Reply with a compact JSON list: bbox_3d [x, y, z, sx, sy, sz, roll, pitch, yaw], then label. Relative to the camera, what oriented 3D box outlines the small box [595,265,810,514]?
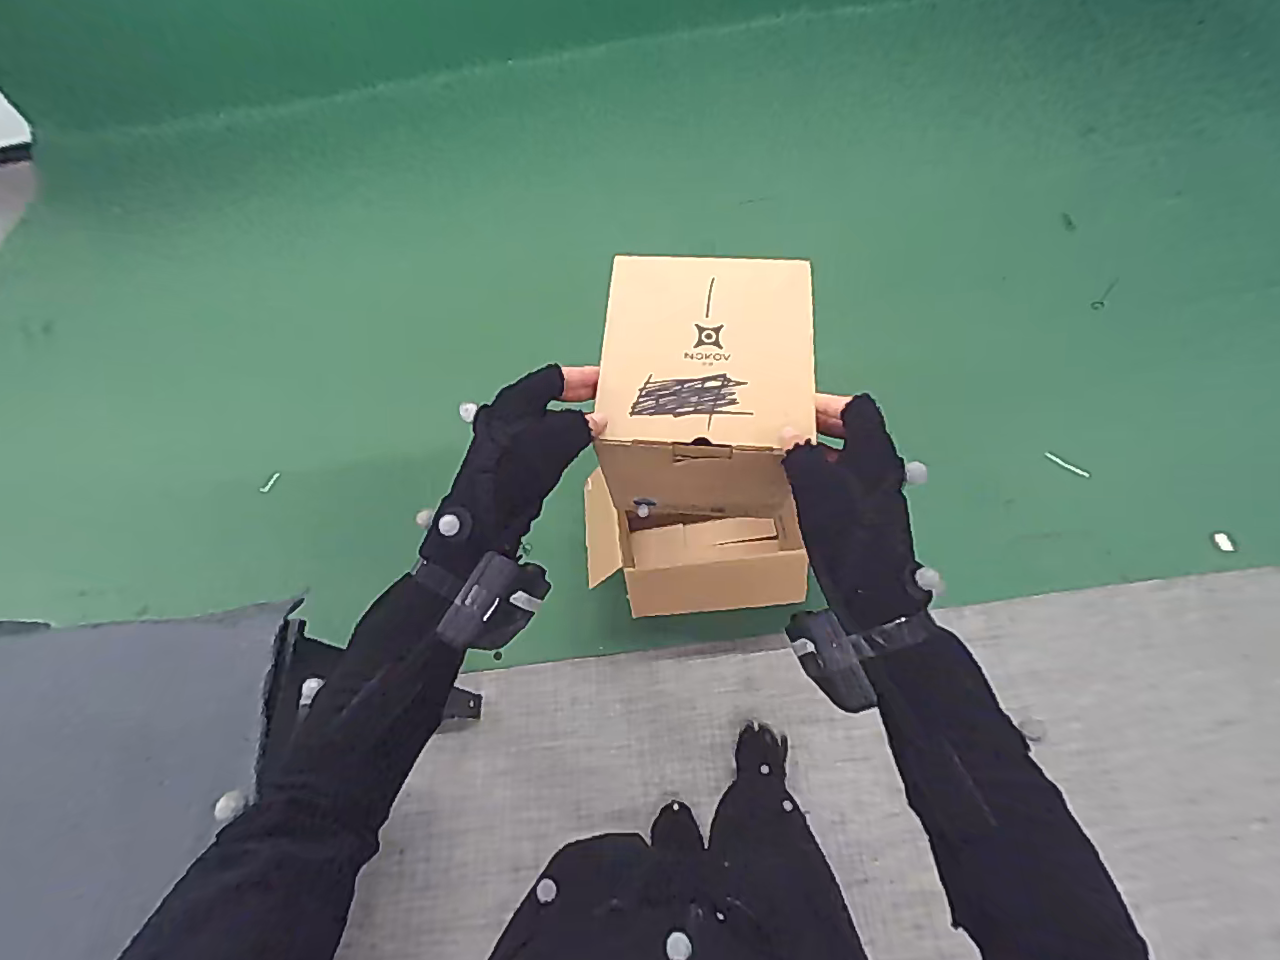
[{"bbox_3d":[0.059,-0.074,0.509,0.168,0.176,0.179,3,68,5],"label":"small box"}]
